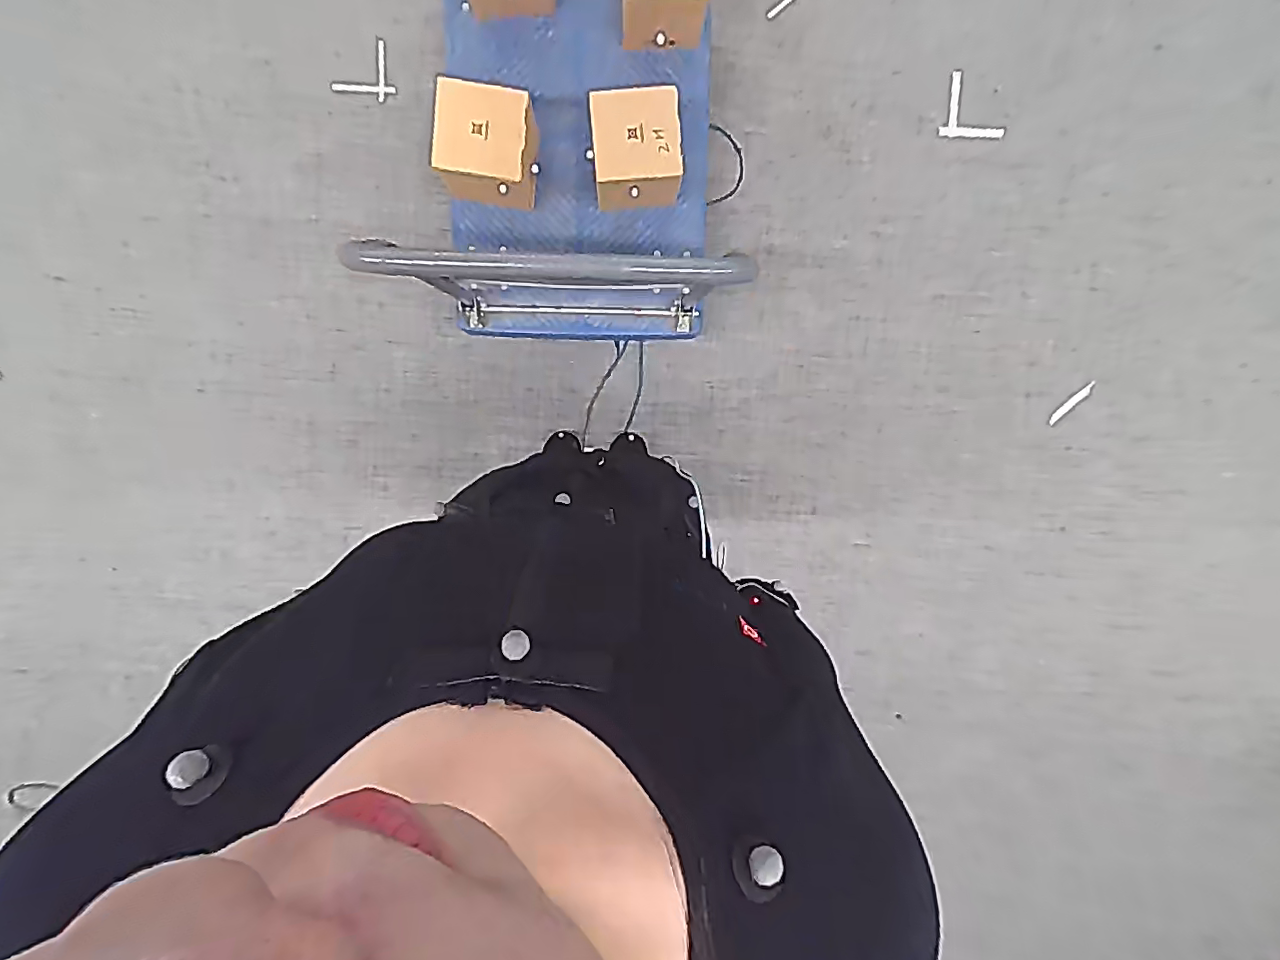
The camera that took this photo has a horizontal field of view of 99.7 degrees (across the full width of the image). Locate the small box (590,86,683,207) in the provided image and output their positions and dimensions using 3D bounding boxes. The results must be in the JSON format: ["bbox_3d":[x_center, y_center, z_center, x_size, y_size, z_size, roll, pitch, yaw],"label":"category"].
[{"bbox_3d":[-0.007,-0.695,1.144,0.179,0.176,0.168,-5,98,-2],"label":"small box"}]

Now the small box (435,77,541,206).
[{"bbox_3d":[-0.310,-0.696,1.131,0.179,0.176,0.168,6,97,-5],"label":"small box"}]

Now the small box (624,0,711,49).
[{"bbox_3d":[0.051,-1.027,1.100,0.168,0.176,0.179,-2,99,-2],"label":"small box"}]
